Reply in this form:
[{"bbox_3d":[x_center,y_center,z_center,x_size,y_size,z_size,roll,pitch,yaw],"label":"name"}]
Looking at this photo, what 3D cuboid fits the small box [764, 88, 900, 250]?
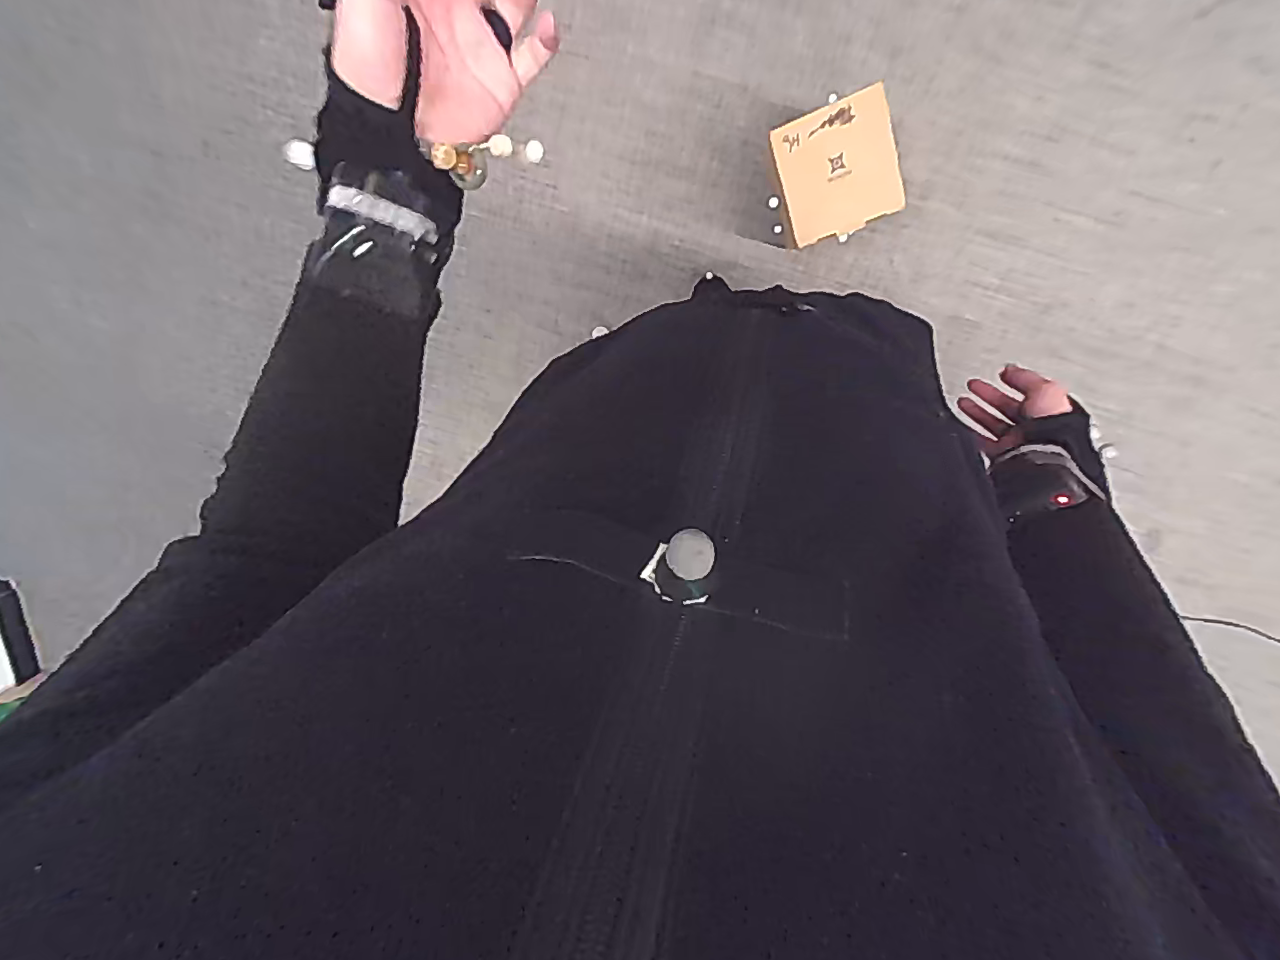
[{"bbox_3d":[0.309,-0.500,0.894,0.168,0.176,0.179,-16,110,16],"label":"small box"}]
